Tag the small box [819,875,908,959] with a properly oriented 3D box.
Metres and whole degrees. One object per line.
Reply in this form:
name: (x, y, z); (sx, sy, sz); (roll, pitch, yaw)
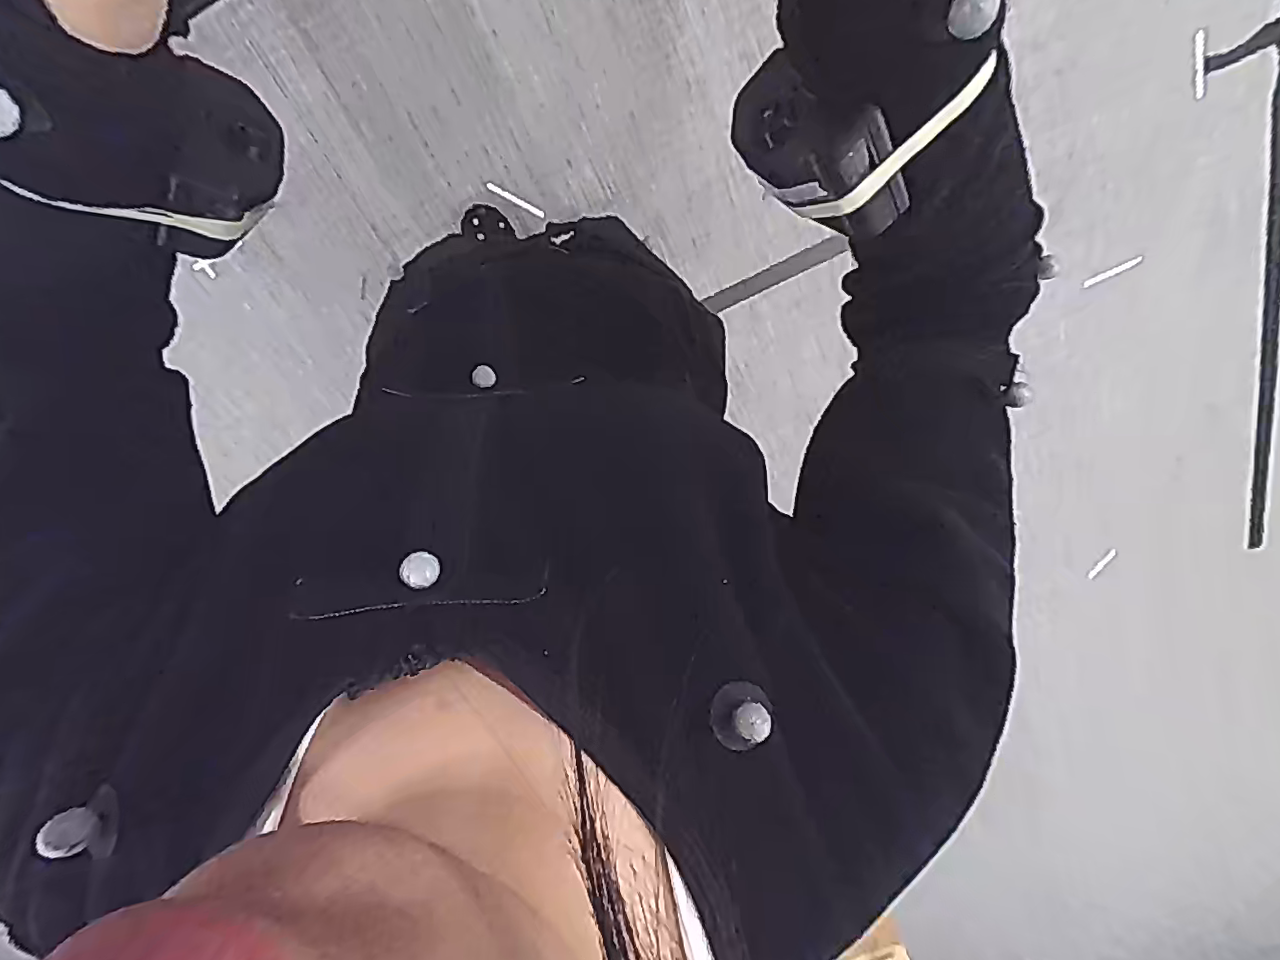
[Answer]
small box: (0.614, 1.231, 1.494); (0.168, 0.176, 0.179); (-22, 116, 6)
